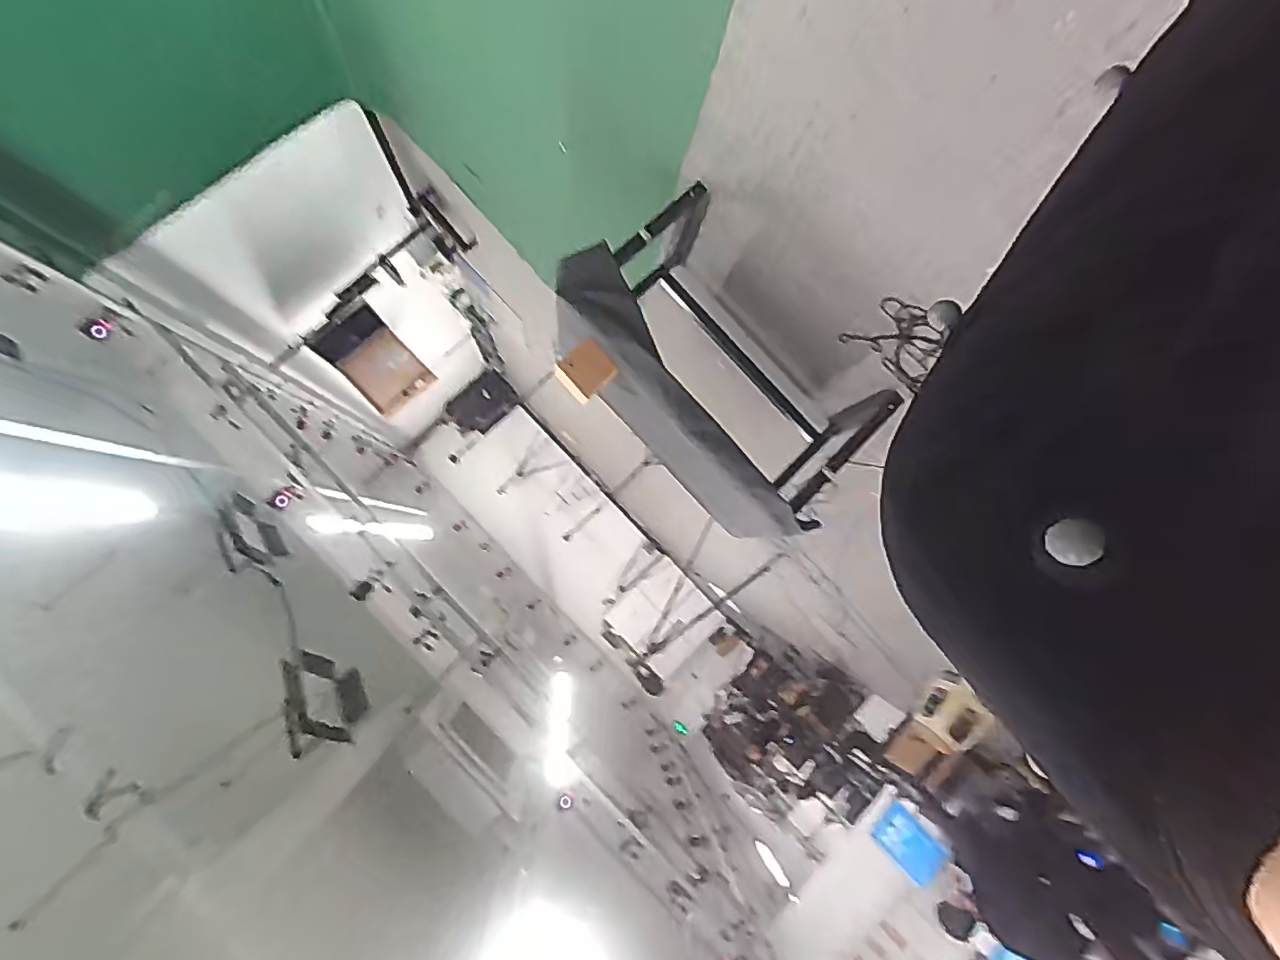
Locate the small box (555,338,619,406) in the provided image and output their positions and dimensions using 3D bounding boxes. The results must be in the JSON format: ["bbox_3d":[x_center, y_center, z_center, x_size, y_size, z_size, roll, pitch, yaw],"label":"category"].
[{"bbox_3d":[-0.204,-0.412,2.075,0.179,0.176,0.168,49,170,-7],"label":"small box"}]
